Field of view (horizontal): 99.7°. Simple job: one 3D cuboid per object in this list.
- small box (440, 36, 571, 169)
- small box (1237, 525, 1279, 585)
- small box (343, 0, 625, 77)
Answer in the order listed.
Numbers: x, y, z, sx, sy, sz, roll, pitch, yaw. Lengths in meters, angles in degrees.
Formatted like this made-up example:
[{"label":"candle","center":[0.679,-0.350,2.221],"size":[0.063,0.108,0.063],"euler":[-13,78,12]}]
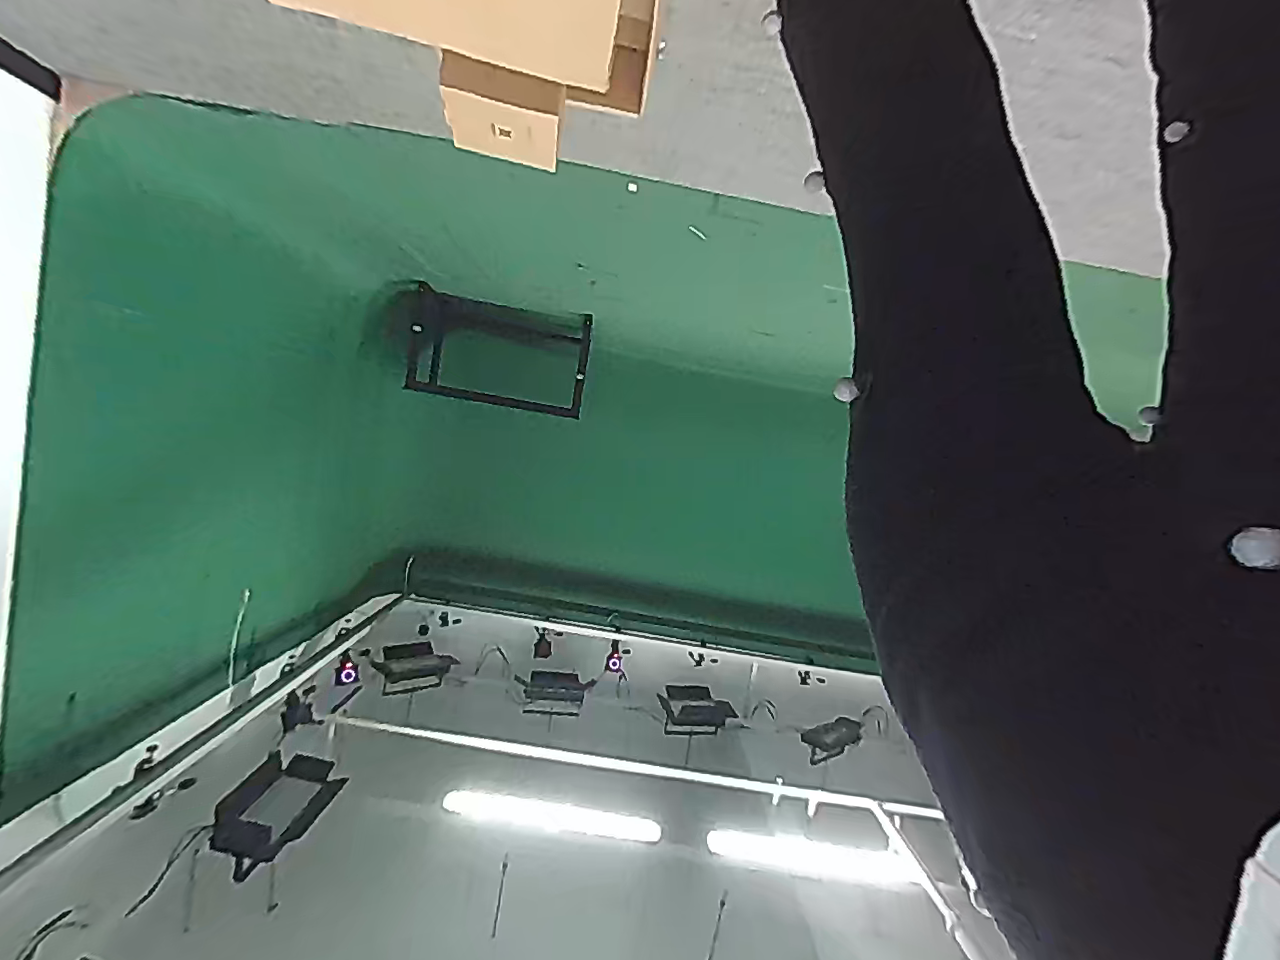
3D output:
[{"label":"small box","center":[-0.205,-0.644,0.864],"size":[0.179,0.176,0.168],"euler":[9,-179,-12]},{"label":"small box","center":[1.996,0.237,1.638],"size":[0.179,0.176,0.168],"euler":[8,-178,-4]},{"label":"small box","center":[-0.071,-0.311,0.201],"size":[0.179,0.176,0.168],"euler":[8,-176,-11]}]
